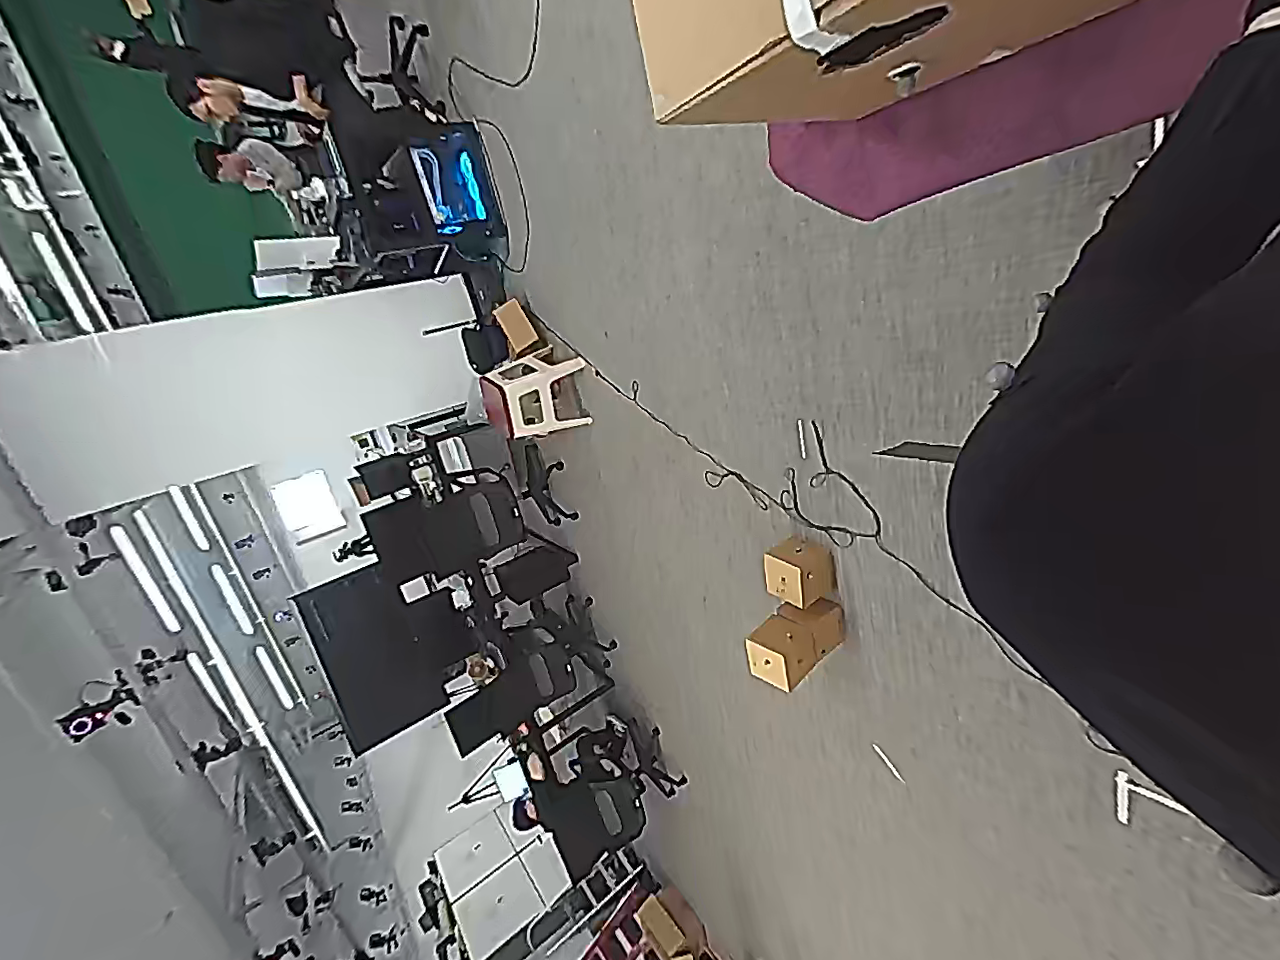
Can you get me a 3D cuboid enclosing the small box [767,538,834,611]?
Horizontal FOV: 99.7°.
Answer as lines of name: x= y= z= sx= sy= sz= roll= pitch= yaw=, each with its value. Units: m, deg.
small box: x=0.584 y=0.335 z=1.963 sx=0.168 sy=0.176 sz=0.179 roll=22 pitch=130 yaw=52
